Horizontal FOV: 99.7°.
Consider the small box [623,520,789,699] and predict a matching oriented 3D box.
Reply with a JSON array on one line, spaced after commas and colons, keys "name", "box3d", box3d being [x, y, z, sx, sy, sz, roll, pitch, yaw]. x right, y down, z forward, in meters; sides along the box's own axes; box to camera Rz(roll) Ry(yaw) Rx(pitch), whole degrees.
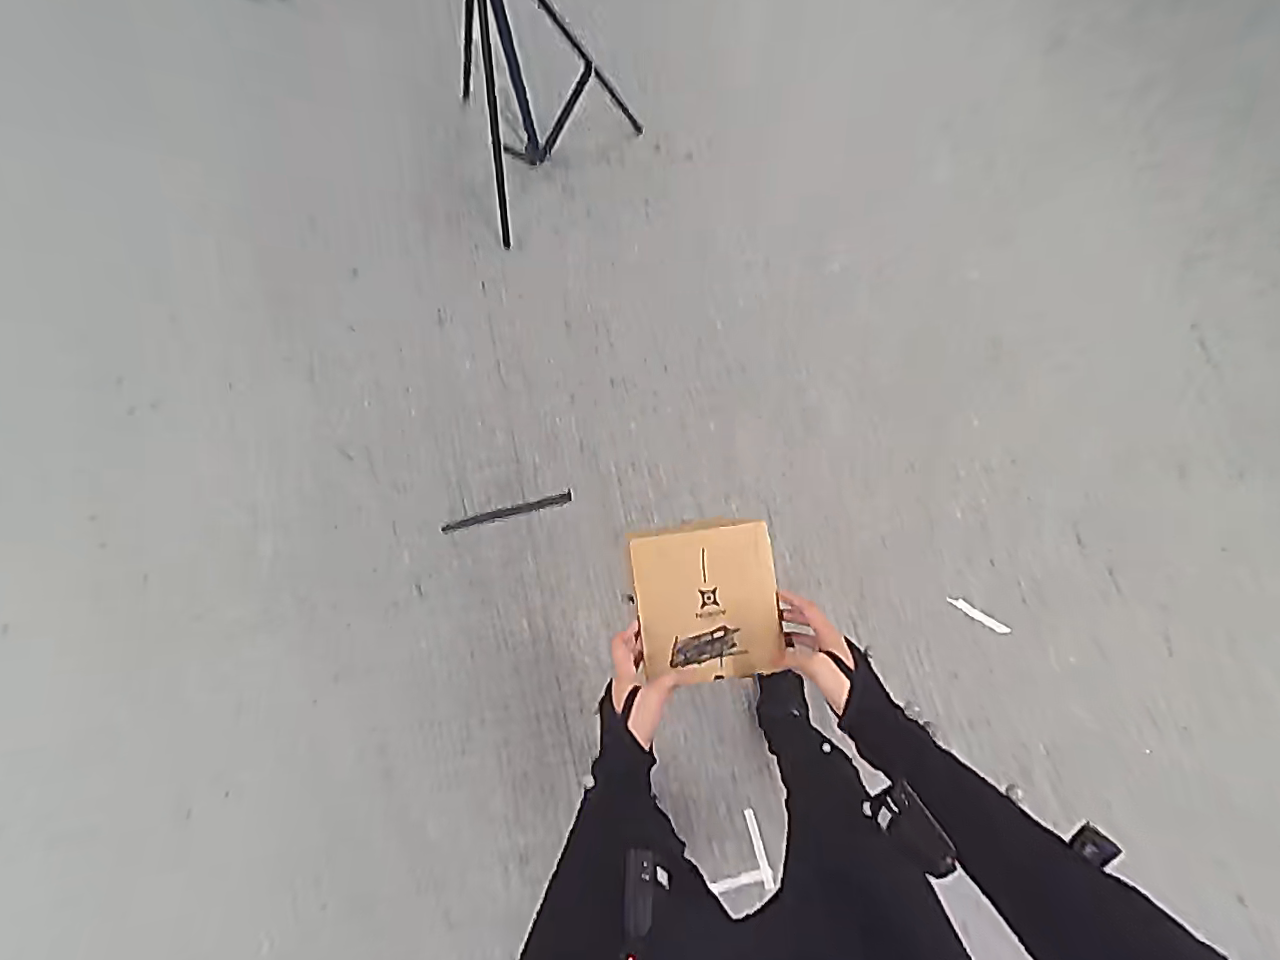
[{"name": "small box", "box3d": [0.072, 0.149, 0.680, 0.168, 0.176, 0.179, -8, 88, -5]}]
